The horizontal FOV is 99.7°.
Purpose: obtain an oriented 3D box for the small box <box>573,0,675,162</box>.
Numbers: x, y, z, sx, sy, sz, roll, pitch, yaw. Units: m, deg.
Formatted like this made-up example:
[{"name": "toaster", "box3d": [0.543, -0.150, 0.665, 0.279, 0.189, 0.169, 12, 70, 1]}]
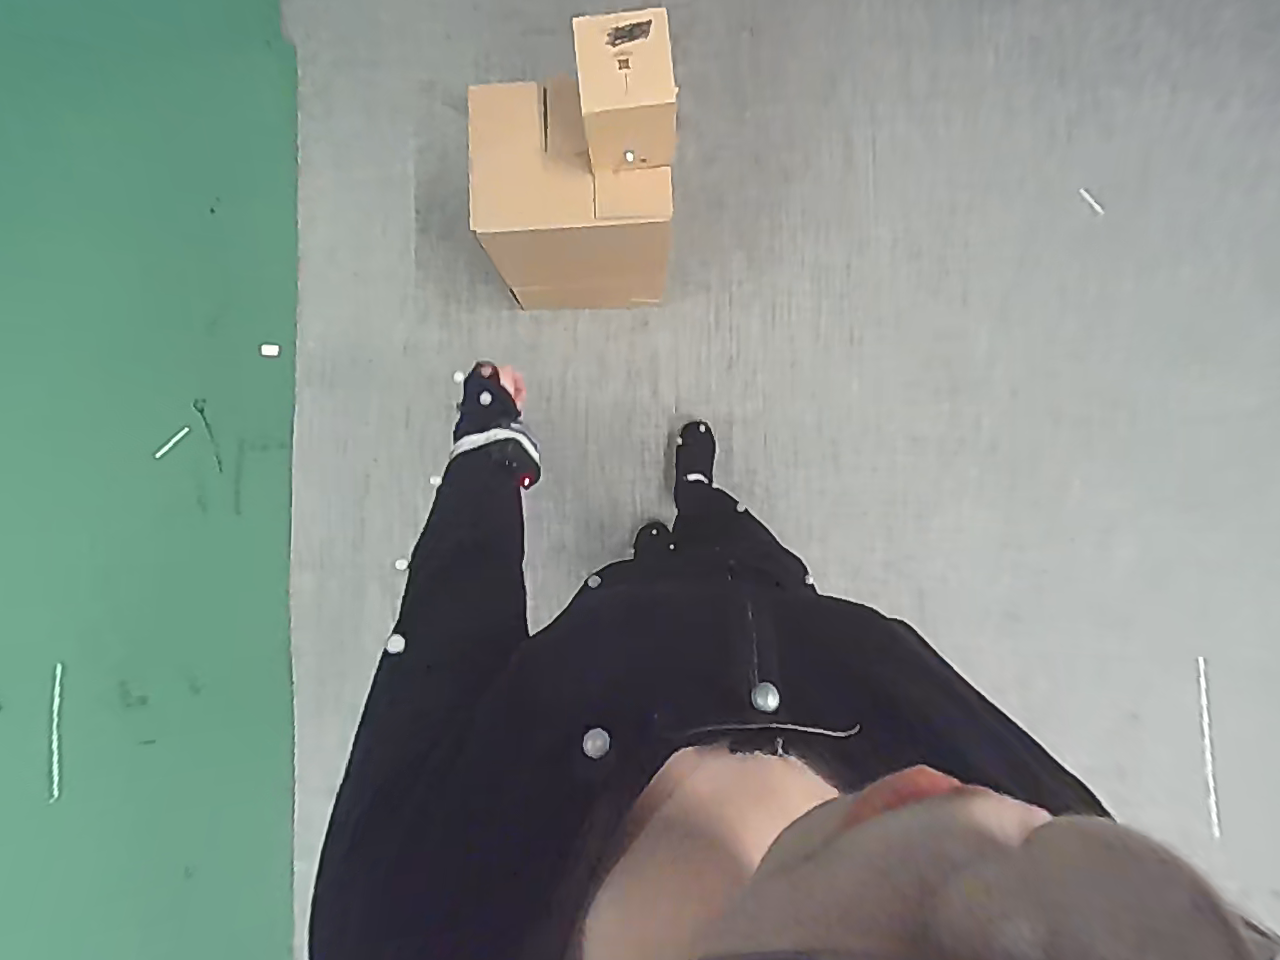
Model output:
[{"name": "small box", "box3d": [-0.027, -0.729, 1.002, 0.168, 0.176, 0.179, -5, 89, 2]}]
